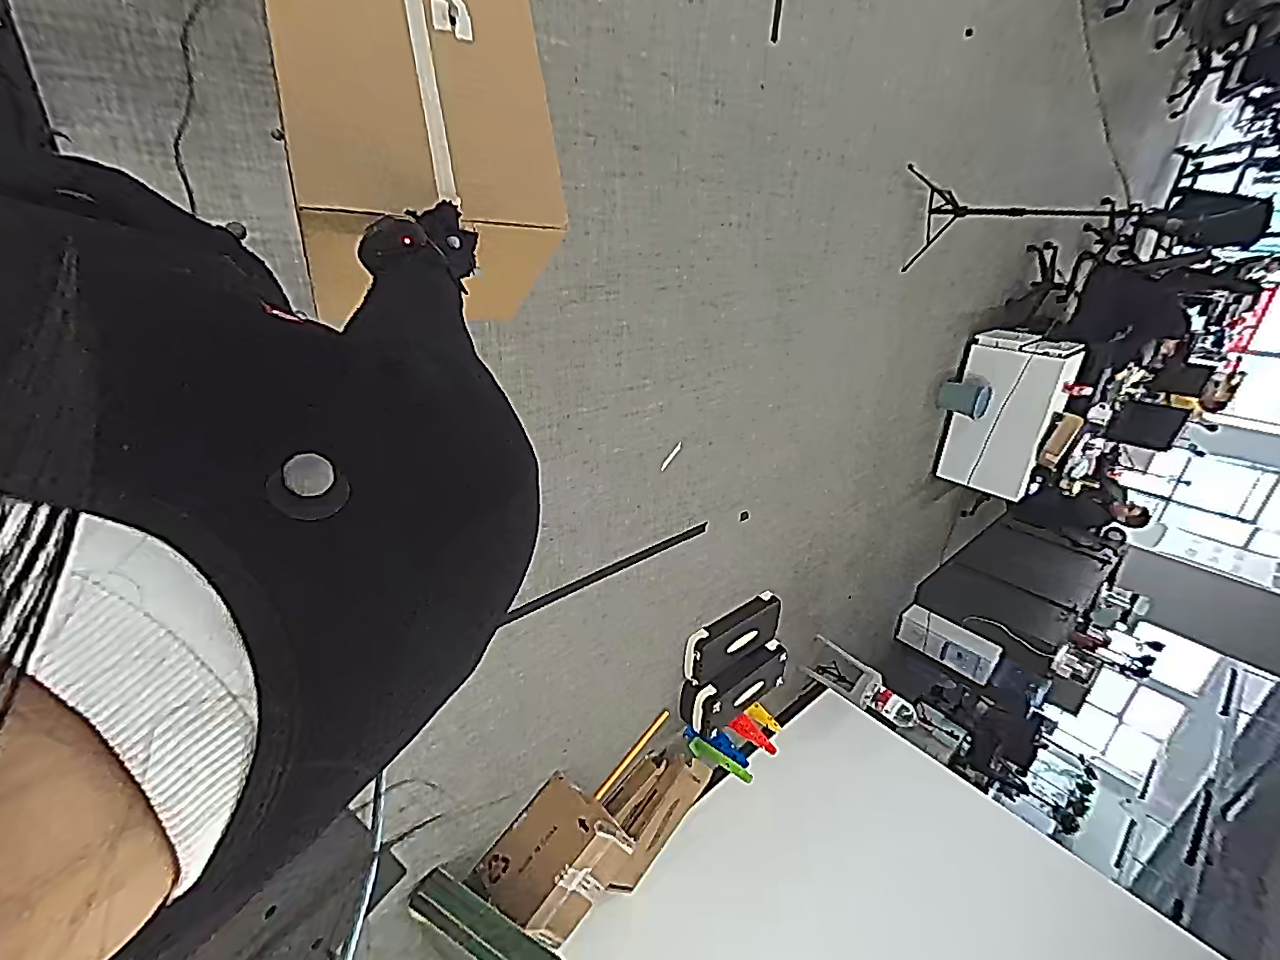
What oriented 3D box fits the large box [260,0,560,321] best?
[{"bbox_3d":[-0.348,-0.489,0.808,0.320,0.320,0.408,-9,86,-30],"label":"large box"}]
